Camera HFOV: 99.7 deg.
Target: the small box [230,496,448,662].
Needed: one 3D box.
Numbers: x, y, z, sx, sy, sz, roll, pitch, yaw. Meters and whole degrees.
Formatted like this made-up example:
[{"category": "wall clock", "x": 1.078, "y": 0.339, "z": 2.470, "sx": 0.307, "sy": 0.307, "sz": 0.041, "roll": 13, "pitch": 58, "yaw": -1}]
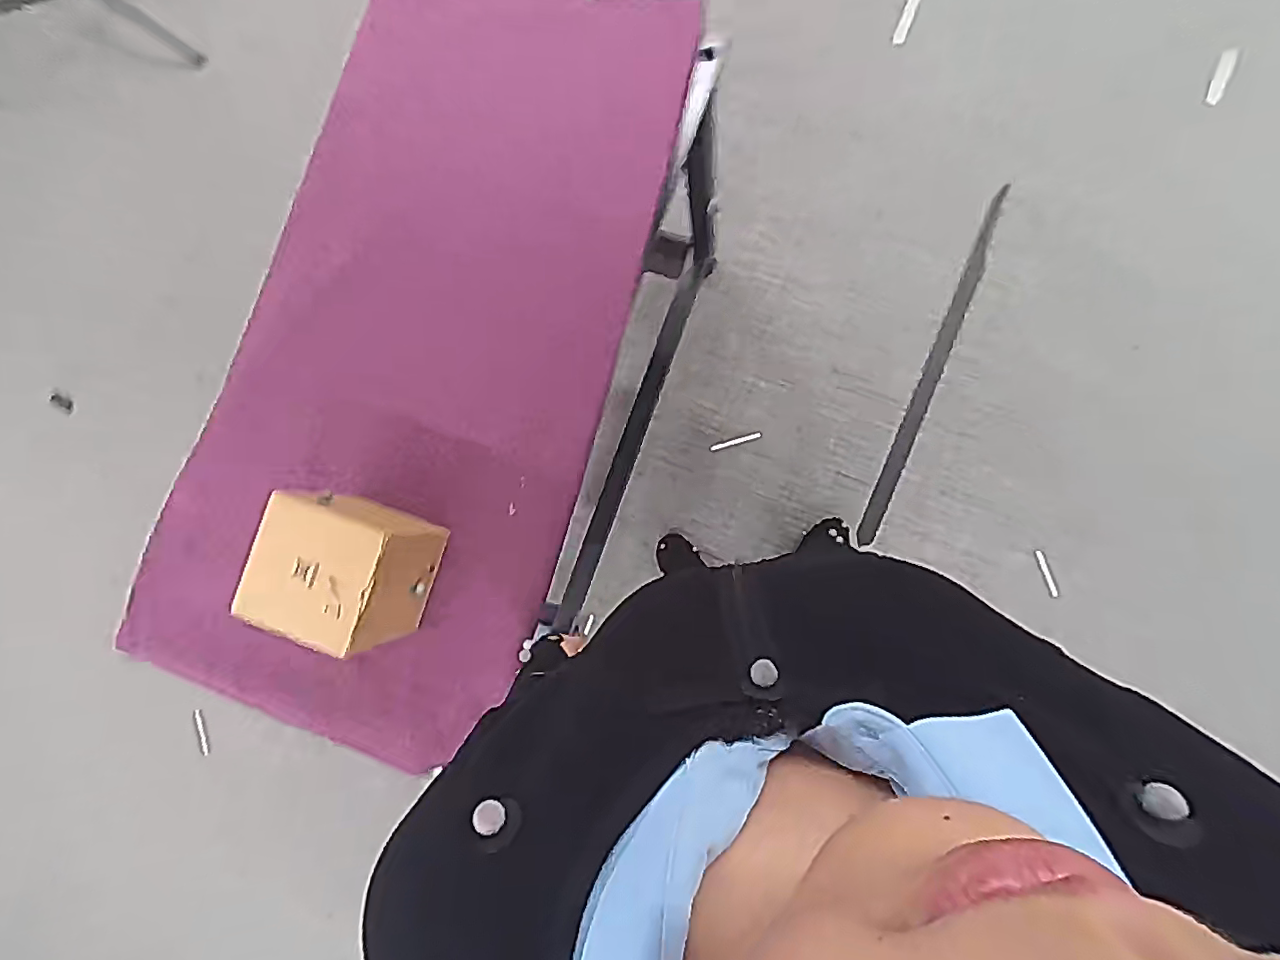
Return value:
[{"category": "small box", "x": -0.406, "y": 0.130, "z": 0.757, "sx": 0.179, "sy": 0.176, "sz": 0.168, "roll": 18, "pitch": 88, "yaw": 8}]
